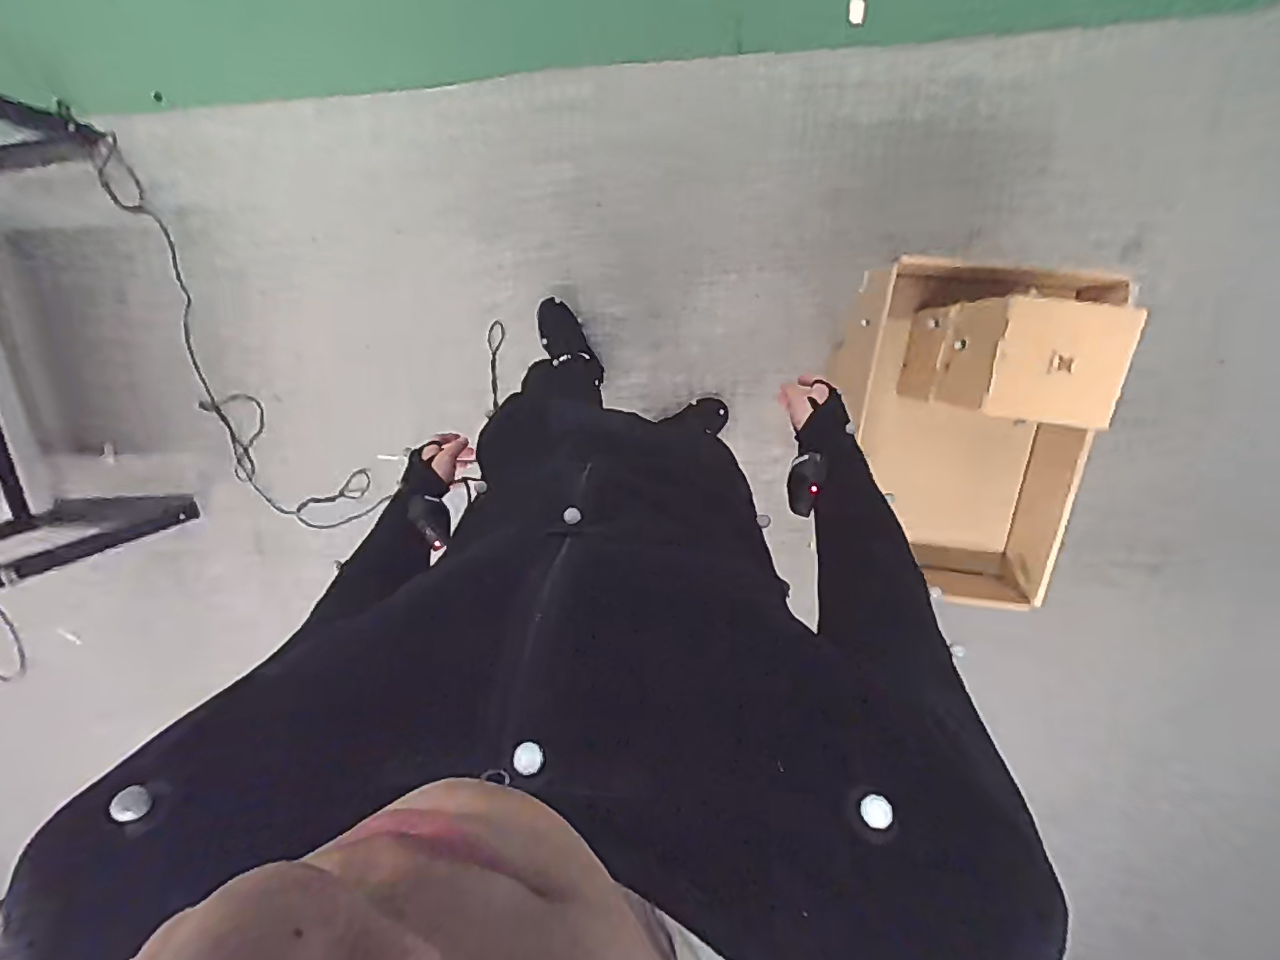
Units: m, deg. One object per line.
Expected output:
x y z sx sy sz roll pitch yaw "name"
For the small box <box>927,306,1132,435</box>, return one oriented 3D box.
0.590 -0.177 0.846 0.179 0.176 0.168 8 107 3 "small box"
